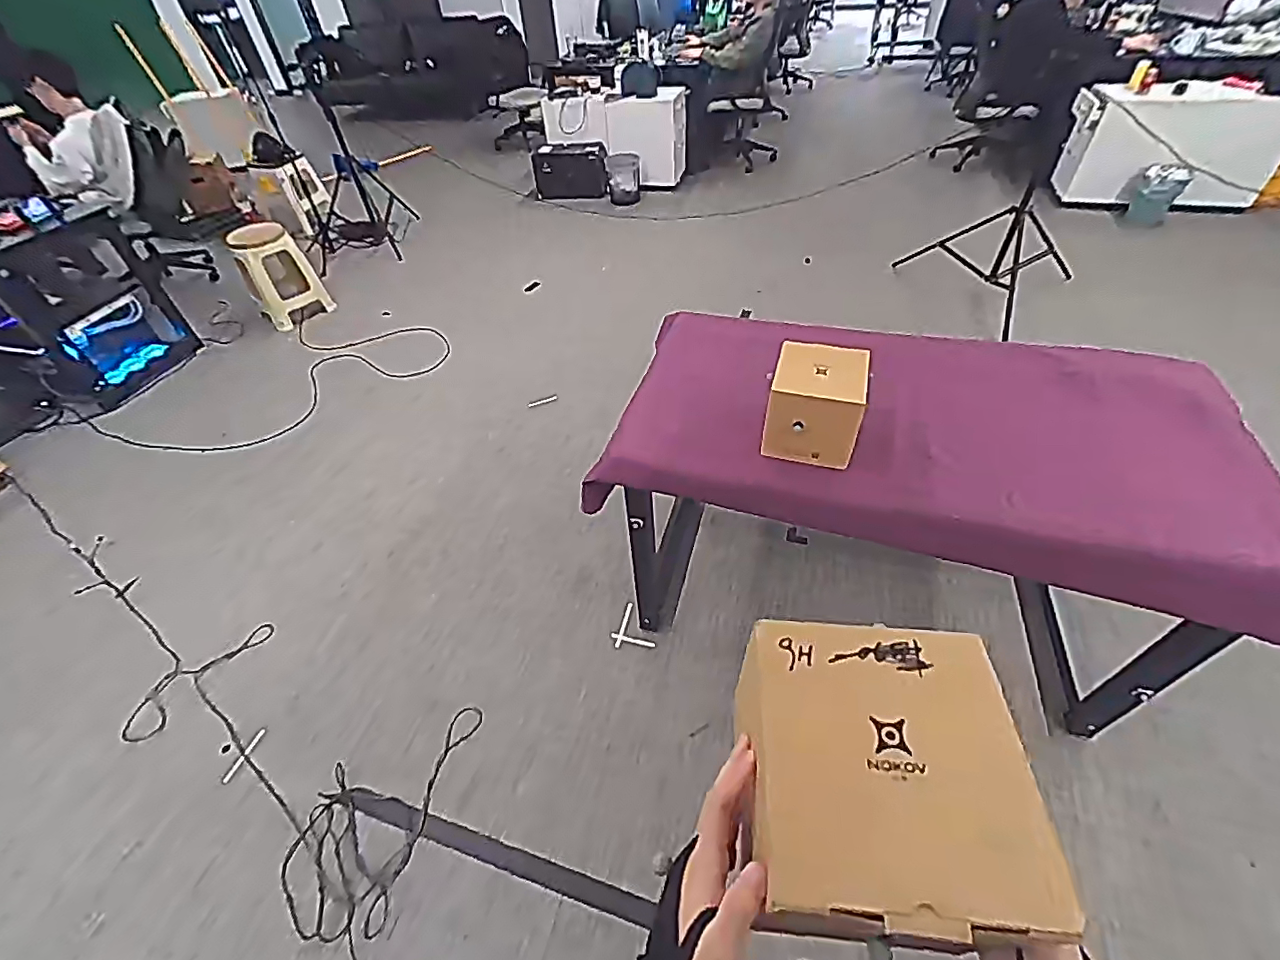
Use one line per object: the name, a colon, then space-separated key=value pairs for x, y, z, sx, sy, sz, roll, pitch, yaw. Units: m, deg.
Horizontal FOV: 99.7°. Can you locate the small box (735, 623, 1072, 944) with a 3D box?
small box: x=0.164 y=0.231 z=0.411 sx=0.168 sy=0.176 sz=0.179 roll=3 pitch=48 yaw=5

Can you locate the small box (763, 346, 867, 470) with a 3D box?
small box: x=0.343 y=-0.142 z=1.076 sx=0.168 sy=0.176 sz=0.179 roll=11 pitch=47 yaw=15
